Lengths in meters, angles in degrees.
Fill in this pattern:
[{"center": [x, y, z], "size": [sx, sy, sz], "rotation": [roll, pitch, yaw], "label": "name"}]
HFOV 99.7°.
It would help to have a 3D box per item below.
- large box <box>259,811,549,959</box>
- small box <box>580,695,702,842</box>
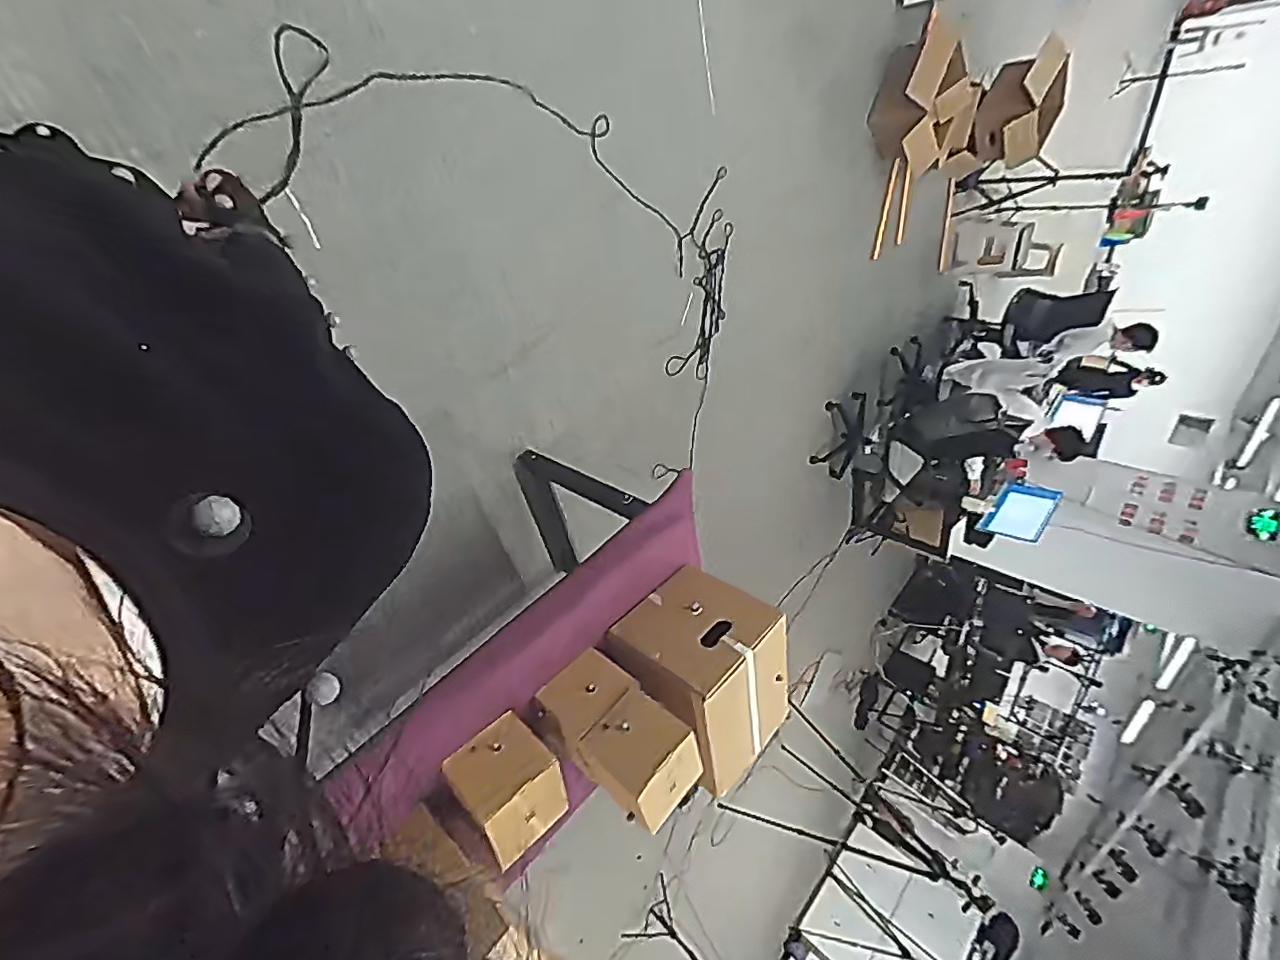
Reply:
[{"center": [-0.385, 0.905, 0.975], "size": [0.320, 0.320, 0.408], "rotation": [-40, 132, -32], "label": "large box"}, {"center": [0.003, 0.580, 1.107], "size": [0.168, 0.176, 0.179], "rotation": [-38, 132, -32], "label": "small box"}]
